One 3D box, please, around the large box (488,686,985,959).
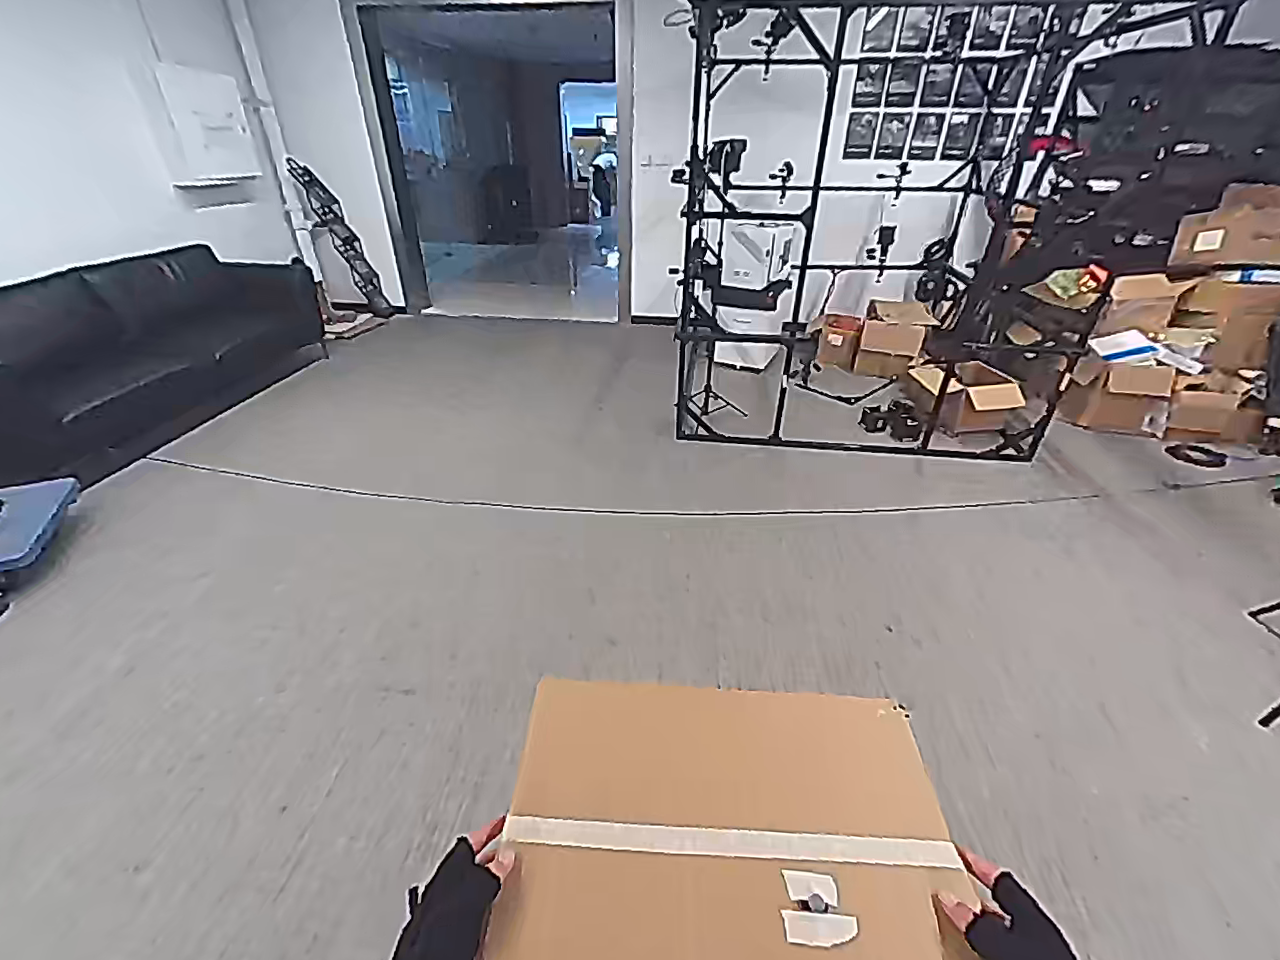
[{"bbox_3d":[0.077,0.454,0.578,0.408,0.320,0.320,3,35,2],"label":"large box"}]
